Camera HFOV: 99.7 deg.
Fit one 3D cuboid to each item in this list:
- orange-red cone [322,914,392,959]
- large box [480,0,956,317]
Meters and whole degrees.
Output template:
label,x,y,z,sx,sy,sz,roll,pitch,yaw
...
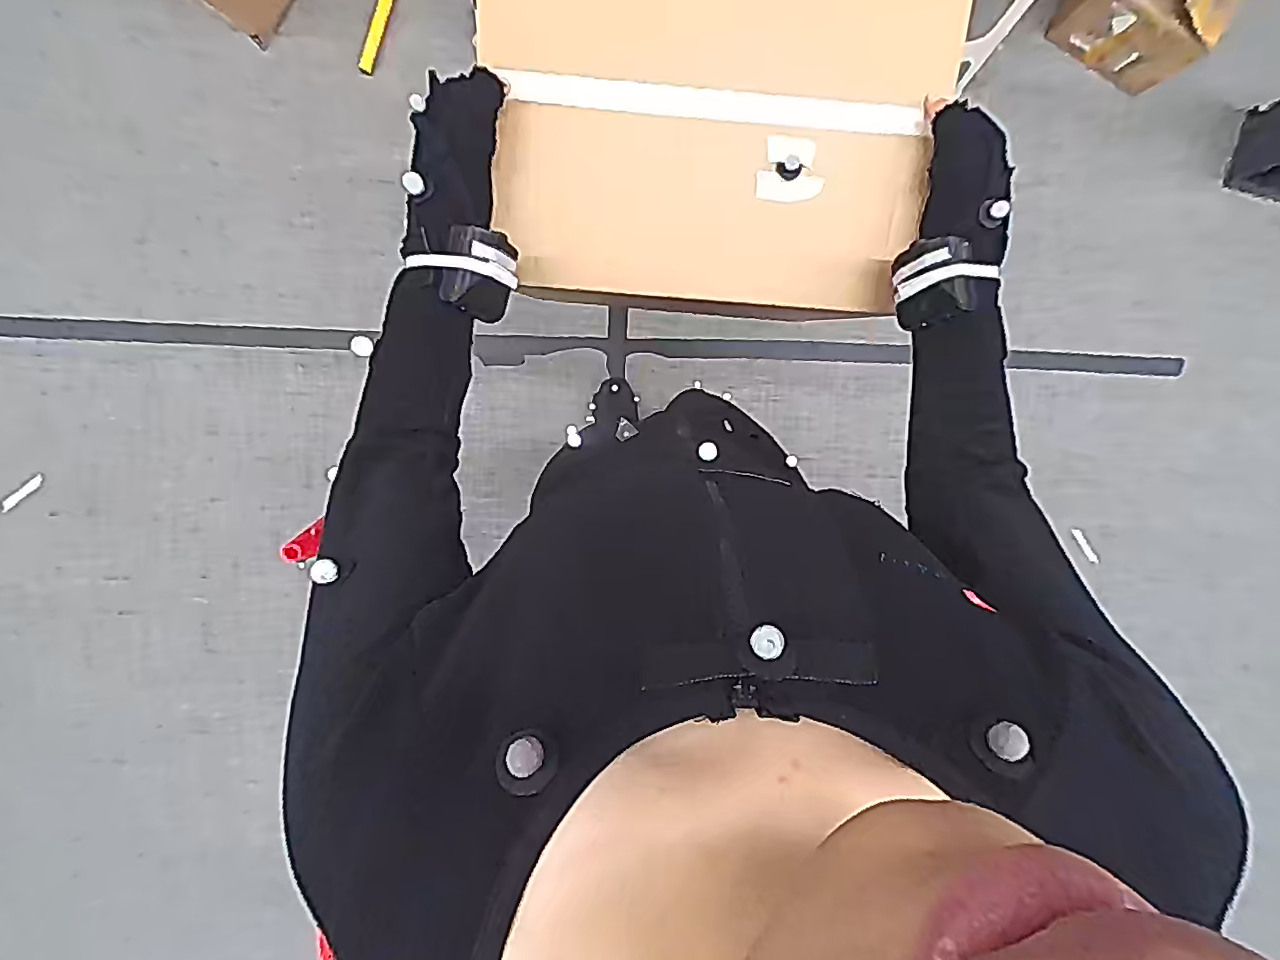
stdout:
label,x,y,z,sx,sy,sz,roll,pitch,yaw
orange-red cone,-0.833,1.403,1.434,0.198,0.360,0.199,-1,99,-2
large box,0.055,-0.361,0.611,0.408,0.320,0.320,3,105,-4
